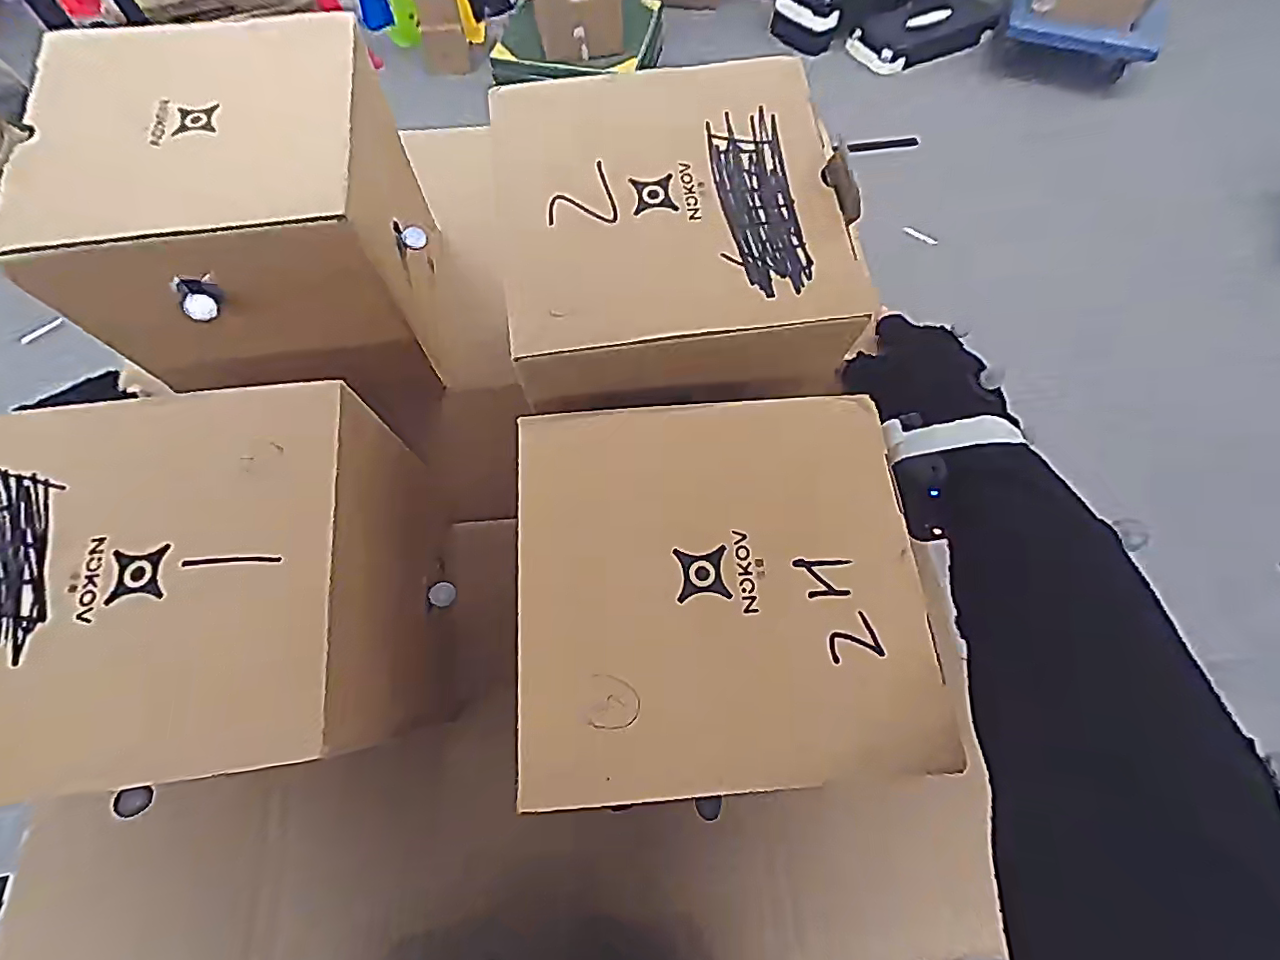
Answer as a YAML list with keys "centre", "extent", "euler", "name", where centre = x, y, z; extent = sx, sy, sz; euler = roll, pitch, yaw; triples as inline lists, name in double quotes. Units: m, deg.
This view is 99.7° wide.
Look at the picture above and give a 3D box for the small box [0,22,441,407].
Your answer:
- centre: [-0.248, -0.168, 0.378]
  extent: [0.179, 0.176, 0.168]
  euler: [-9, 69, -4]
  name: "small box"
